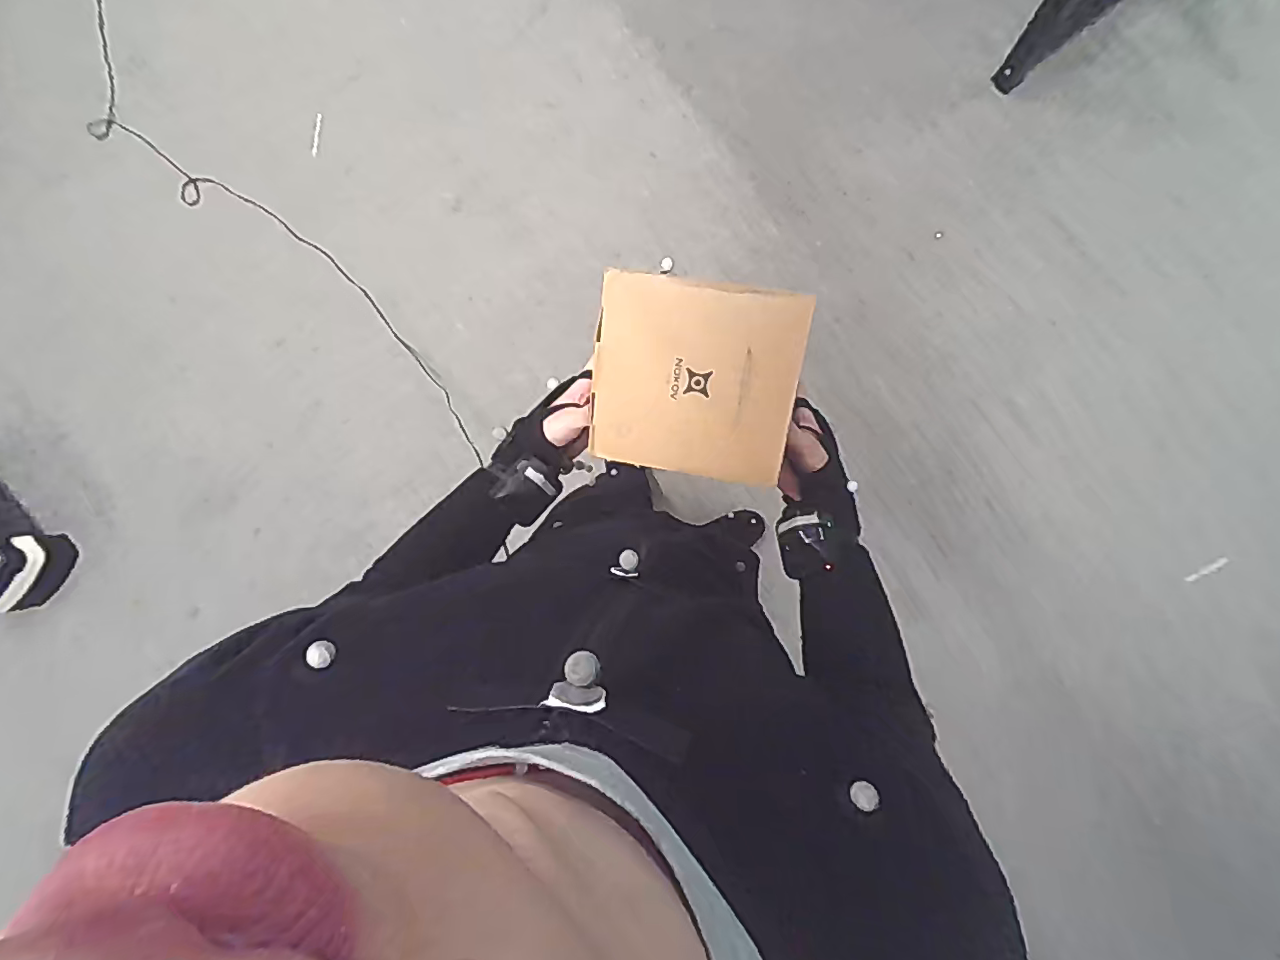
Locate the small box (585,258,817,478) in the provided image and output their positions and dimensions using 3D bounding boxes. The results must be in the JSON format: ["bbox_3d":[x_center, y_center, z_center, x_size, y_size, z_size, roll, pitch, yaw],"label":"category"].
[{"bbox_3d":[0.056,-0.117,0.528,0.179,0.176,0.168,9,112,6],"label":"small box"}]
